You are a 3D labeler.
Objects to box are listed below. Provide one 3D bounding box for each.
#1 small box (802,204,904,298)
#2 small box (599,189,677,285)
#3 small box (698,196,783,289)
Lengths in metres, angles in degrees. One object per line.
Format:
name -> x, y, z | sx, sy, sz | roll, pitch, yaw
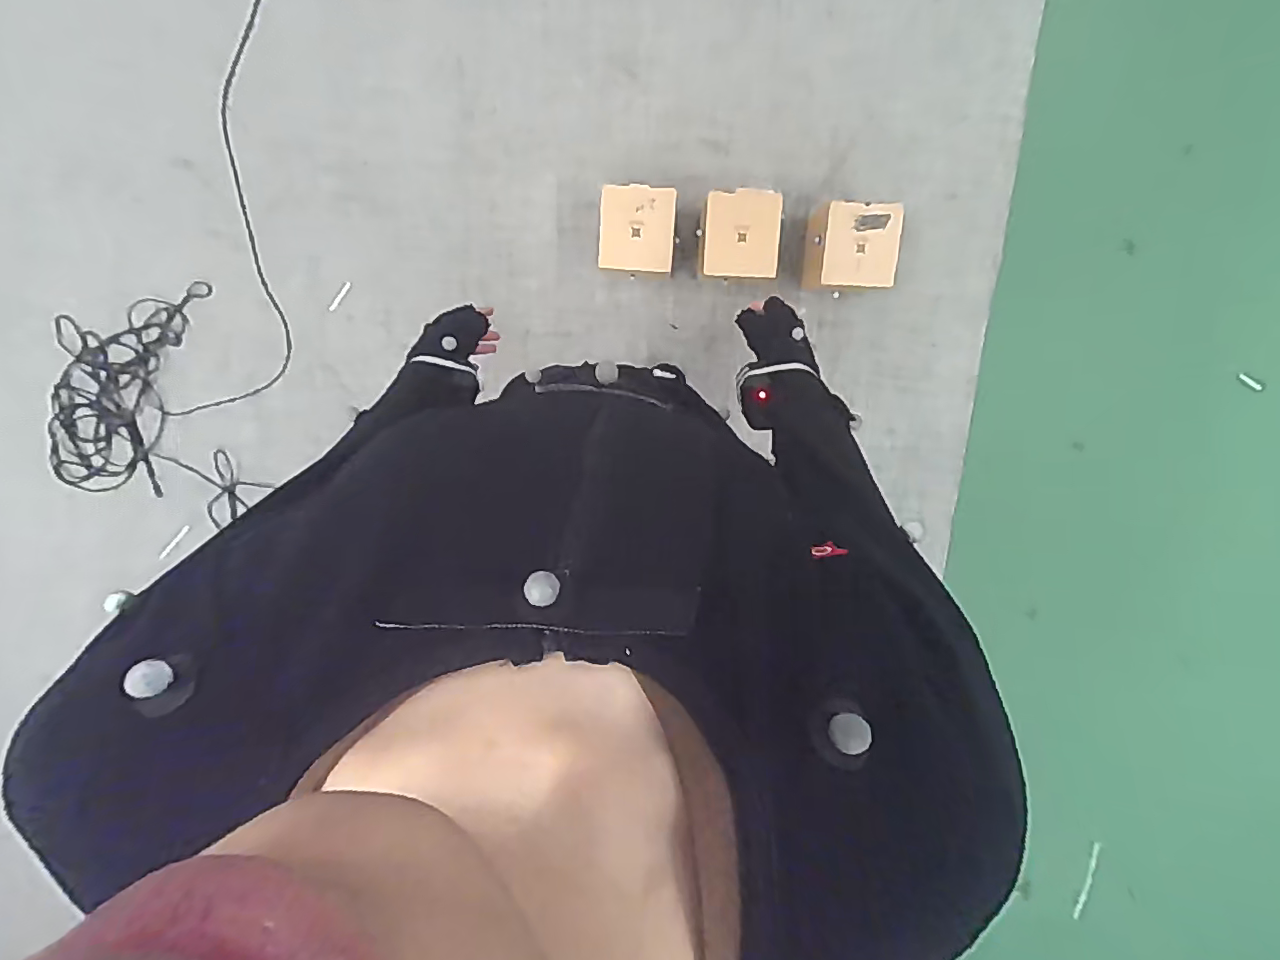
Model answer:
small box -> 0.491, -0.530, 1.270 | 0.168, 0.176, 0.179 | 2, 104, 0
small box -> -0.004, -0.561, 1.269 | 0.168, 0.176, 0.179 | 3, 103, 0
small box -> 0.228, -0.549, 1.270 | 0.168, 0.176, 0.179 | 2, 103, 0
